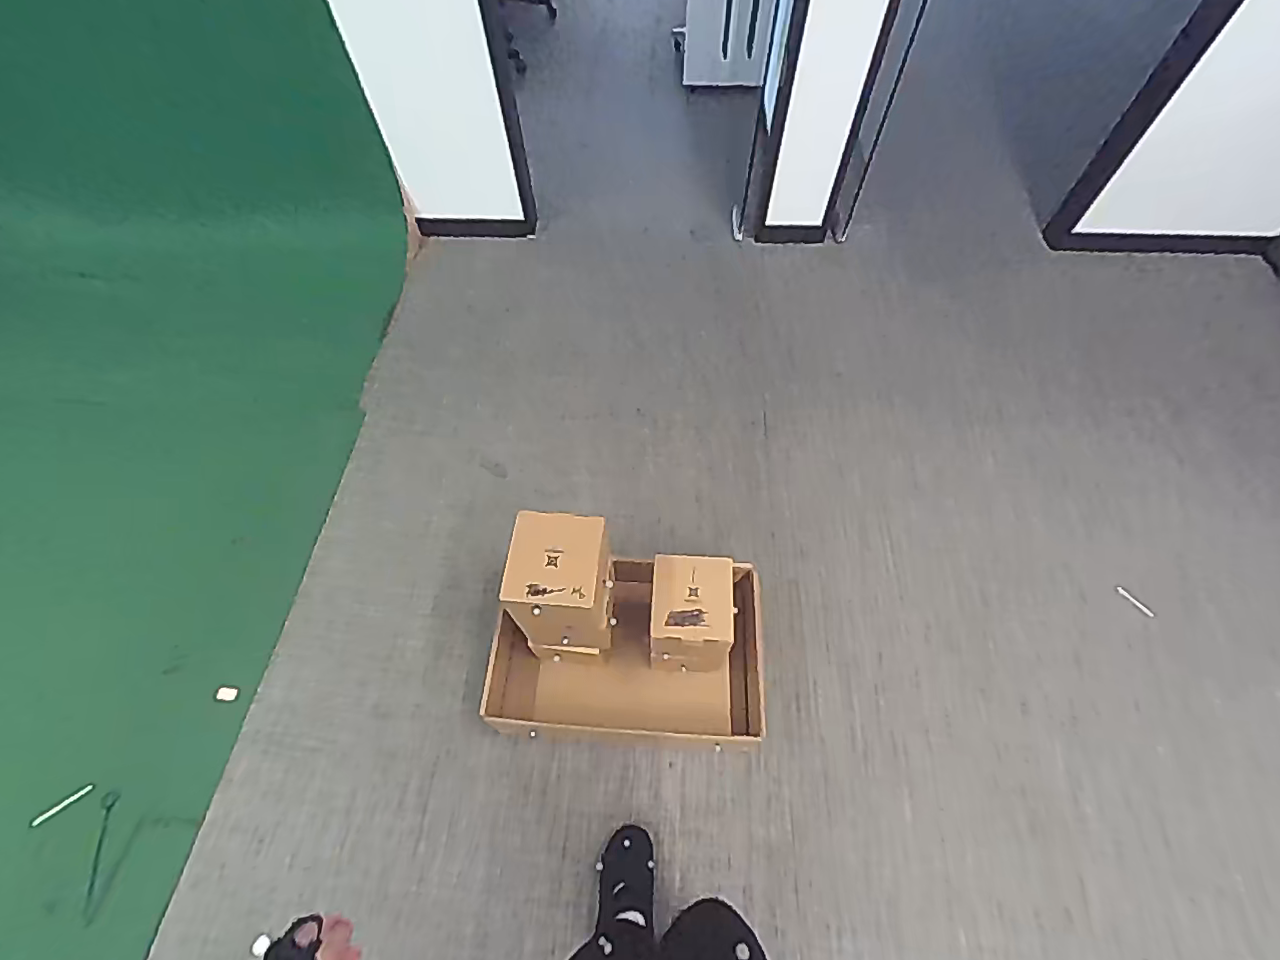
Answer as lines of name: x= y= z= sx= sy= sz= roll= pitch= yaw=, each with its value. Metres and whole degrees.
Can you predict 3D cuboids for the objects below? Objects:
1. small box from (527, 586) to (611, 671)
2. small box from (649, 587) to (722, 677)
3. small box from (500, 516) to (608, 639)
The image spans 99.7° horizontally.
small box: x=-0.164 y=0.357 z=1.318 sx=0.168 sy=0.176 sz=0.179 roll=7 pitch=60 yaw=3
small box: x=0.109 y=0.371 z=1.305 sx=0.168 sy=0.176 sz=0.179 roll=3 pitch=60 yaw=3
small box: x=-0.153 y=0.189 z=1.036 sx=0.168 sy=0.176 sz=0.179 roll=5 pitch=59 yaw=3
